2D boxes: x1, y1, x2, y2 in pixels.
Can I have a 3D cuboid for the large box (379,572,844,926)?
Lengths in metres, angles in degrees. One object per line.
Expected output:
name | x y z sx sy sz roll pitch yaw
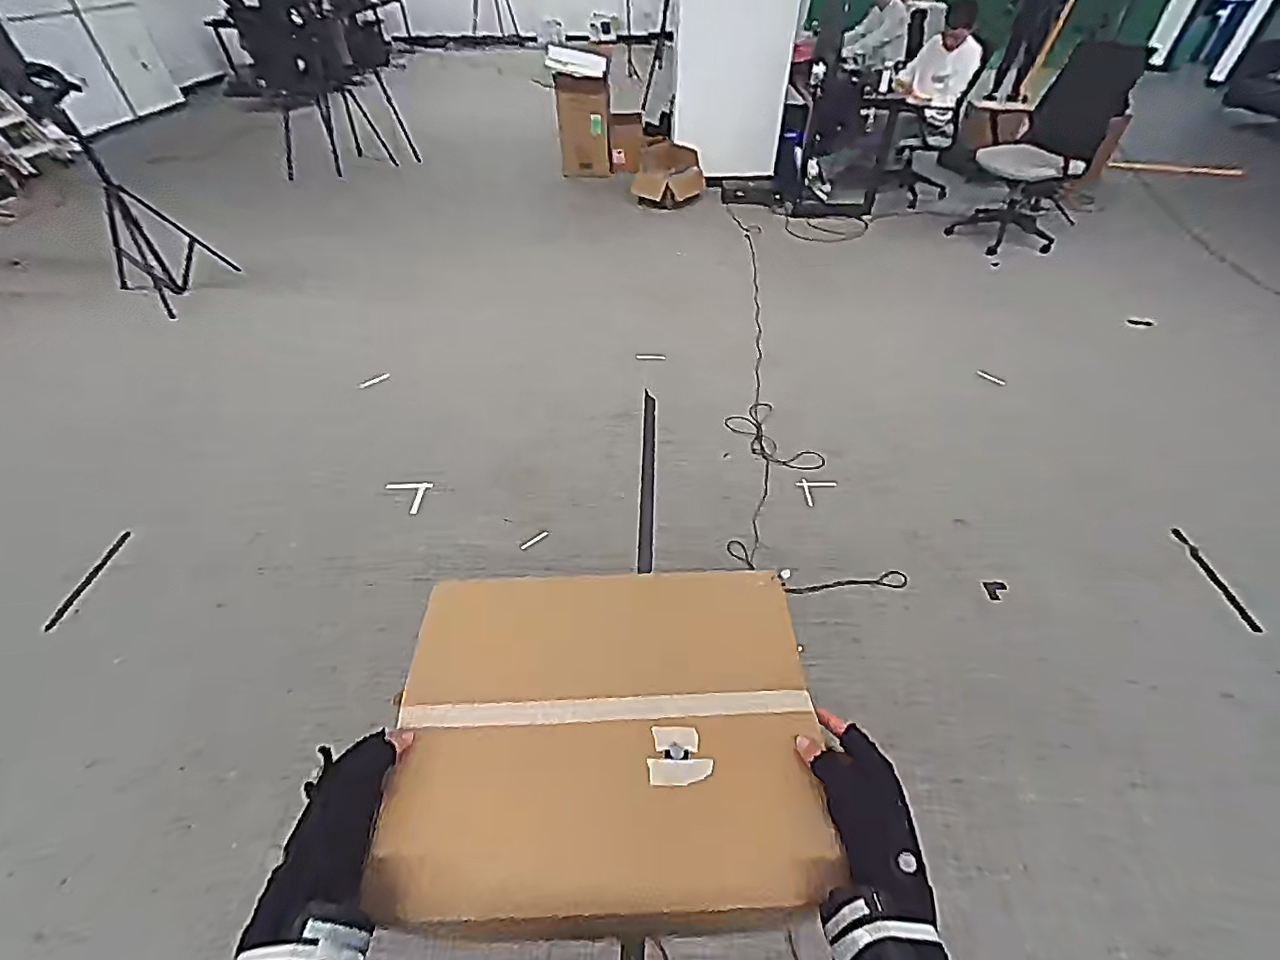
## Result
large box | -0.029 0.330 0.663 0.408 0.320 0.320 -1 48 -1
